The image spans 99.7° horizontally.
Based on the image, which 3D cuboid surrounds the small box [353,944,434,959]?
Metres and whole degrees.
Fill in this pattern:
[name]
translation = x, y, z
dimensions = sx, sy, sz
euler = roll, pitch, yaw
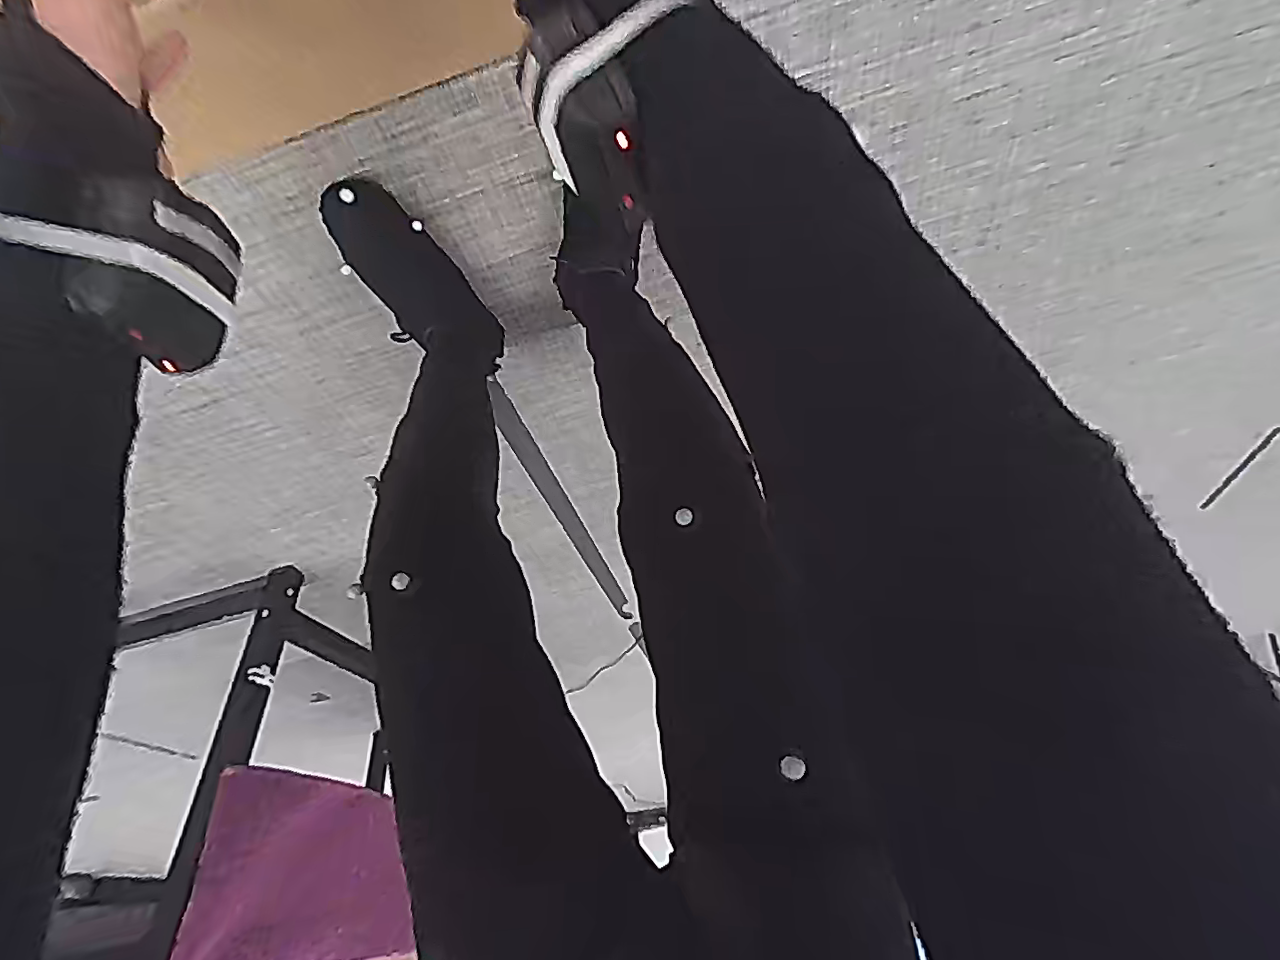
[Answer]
[small box]
translation = -0.675, 1.368, 1.447
dimensions = 0.179, 0.176, 0.168
euler = -25, 139, 16
